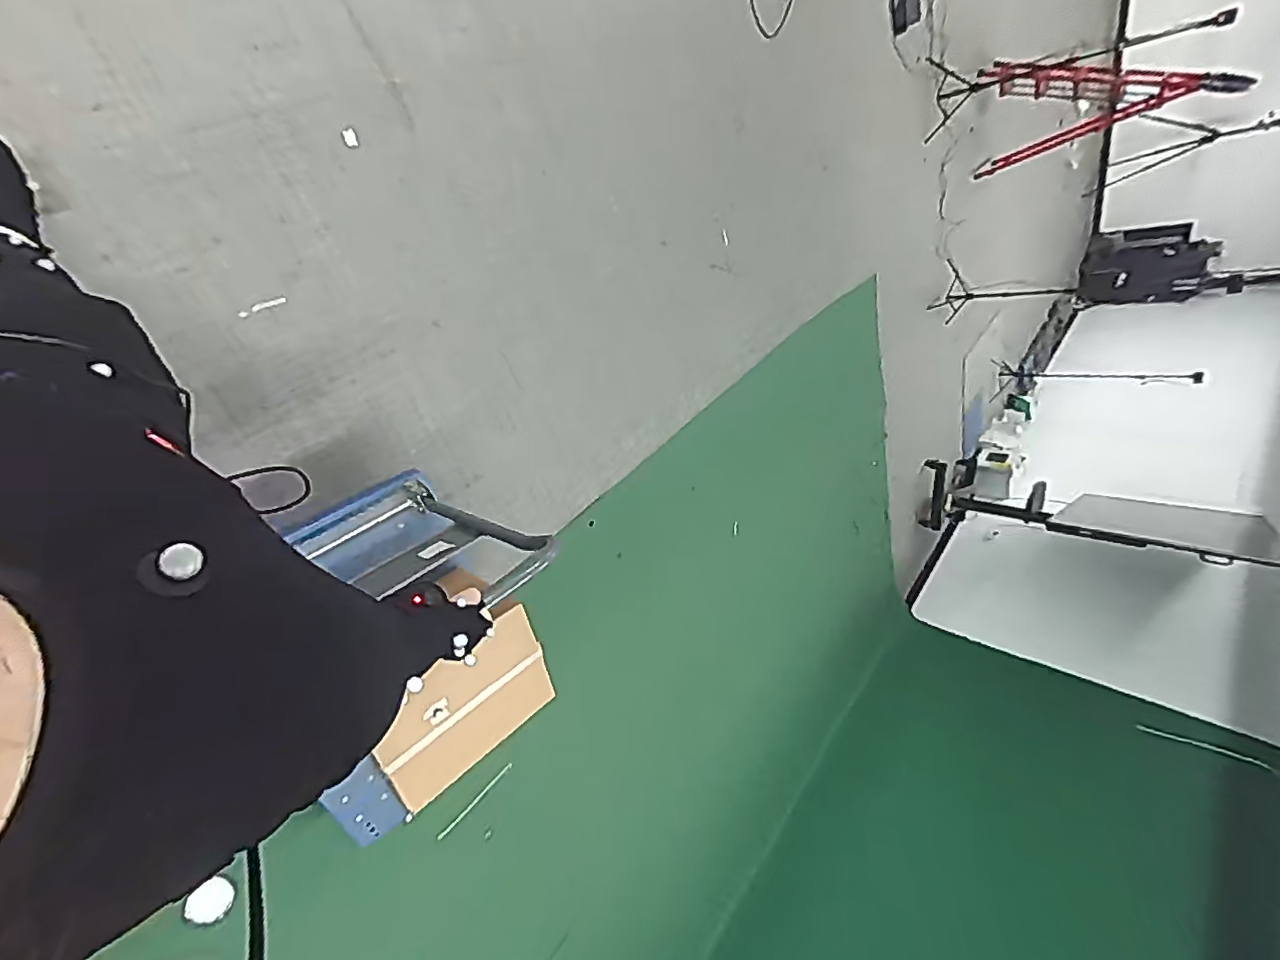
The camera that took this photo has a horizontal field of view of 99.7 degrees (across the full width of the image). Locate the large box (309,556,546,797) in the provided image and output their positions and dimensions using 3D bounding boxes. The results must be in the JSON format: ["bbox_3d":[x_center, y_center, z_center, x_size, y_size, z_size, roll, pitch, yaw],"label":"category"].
[{"bbox_3d":[-0.509,0.449,1.334,0.408,0.320,0.320,-32,121,-35],"label":"large box"}]
